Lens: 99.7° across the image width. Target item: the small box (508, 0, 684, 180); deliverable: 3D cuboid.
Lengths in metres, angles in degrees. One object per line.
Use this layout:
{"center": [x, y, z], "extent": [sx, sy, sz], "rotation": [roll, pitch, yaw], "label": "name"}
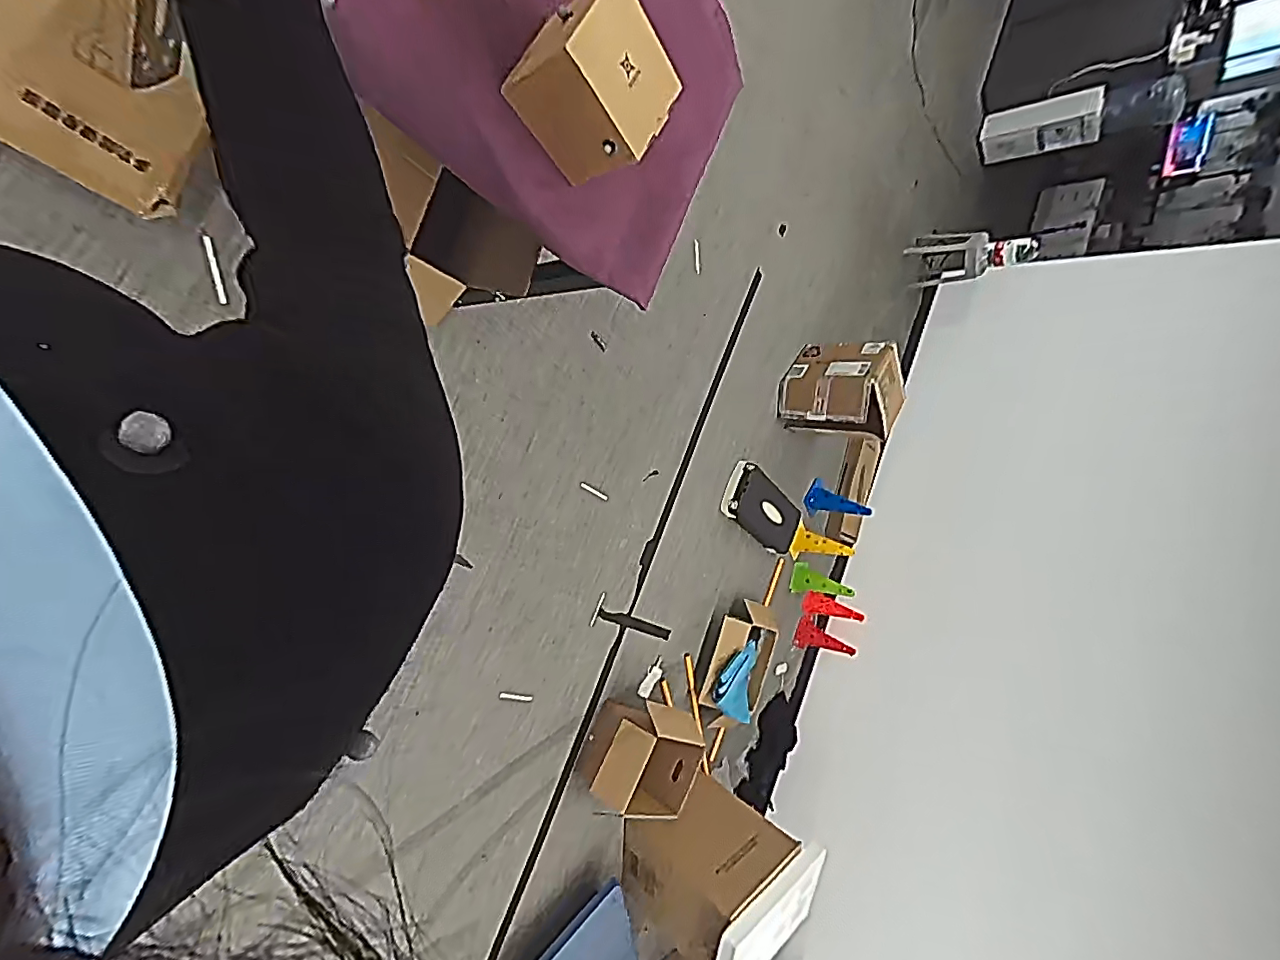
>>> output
{"center": [-0.069, -0.601, 0.831], "extent": [0.179, 0.176, 0.168], "rotation": [40, 70, -44], "label": "small box"}
